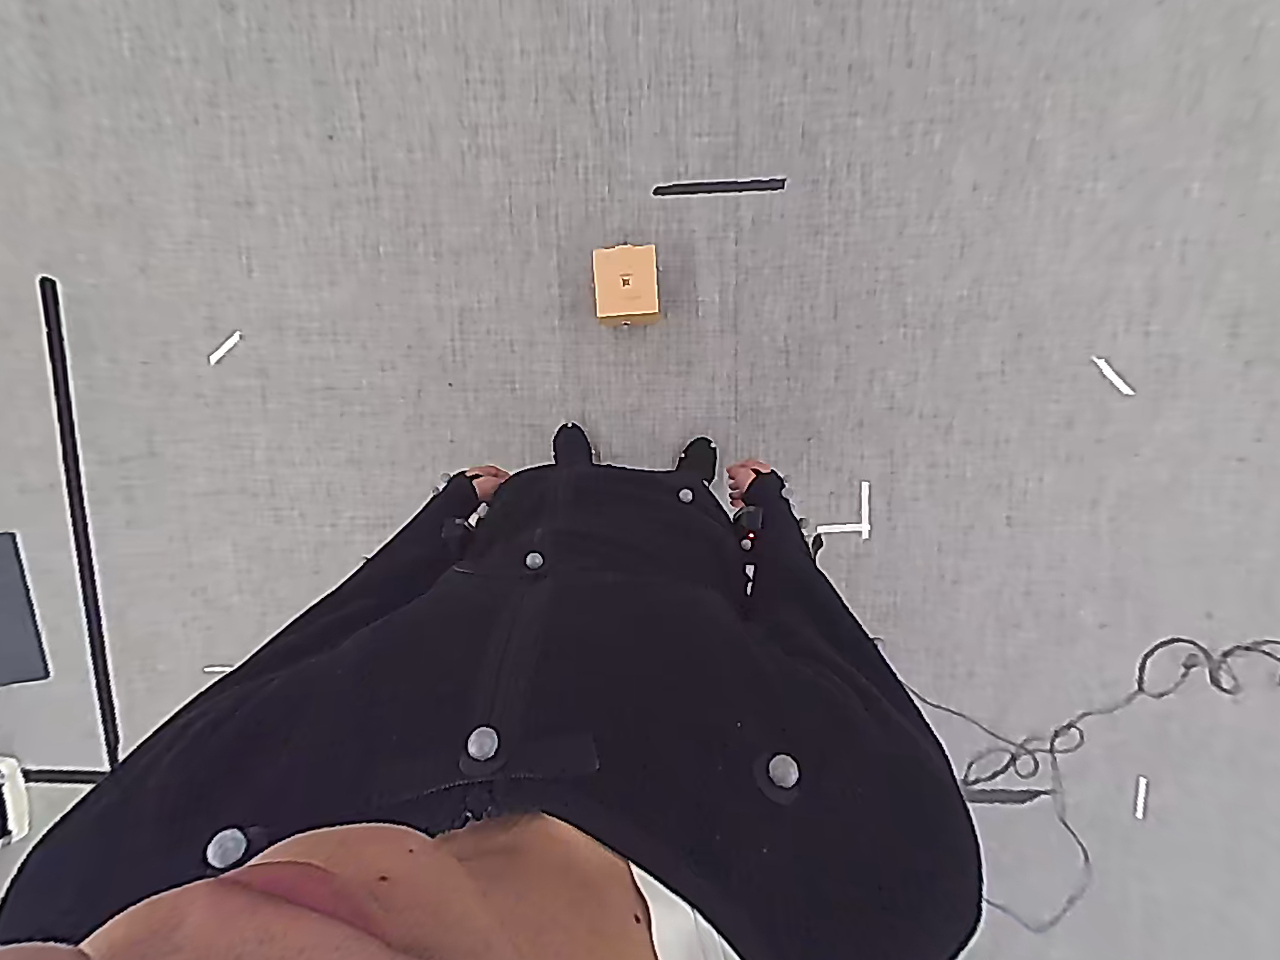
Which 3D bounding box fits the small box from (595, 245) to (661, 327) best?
[{"bbox_3d":[-0.030,-0.527,1.487,0.168,0.176,0.179,-3,97,3],"label":"small box"}]
